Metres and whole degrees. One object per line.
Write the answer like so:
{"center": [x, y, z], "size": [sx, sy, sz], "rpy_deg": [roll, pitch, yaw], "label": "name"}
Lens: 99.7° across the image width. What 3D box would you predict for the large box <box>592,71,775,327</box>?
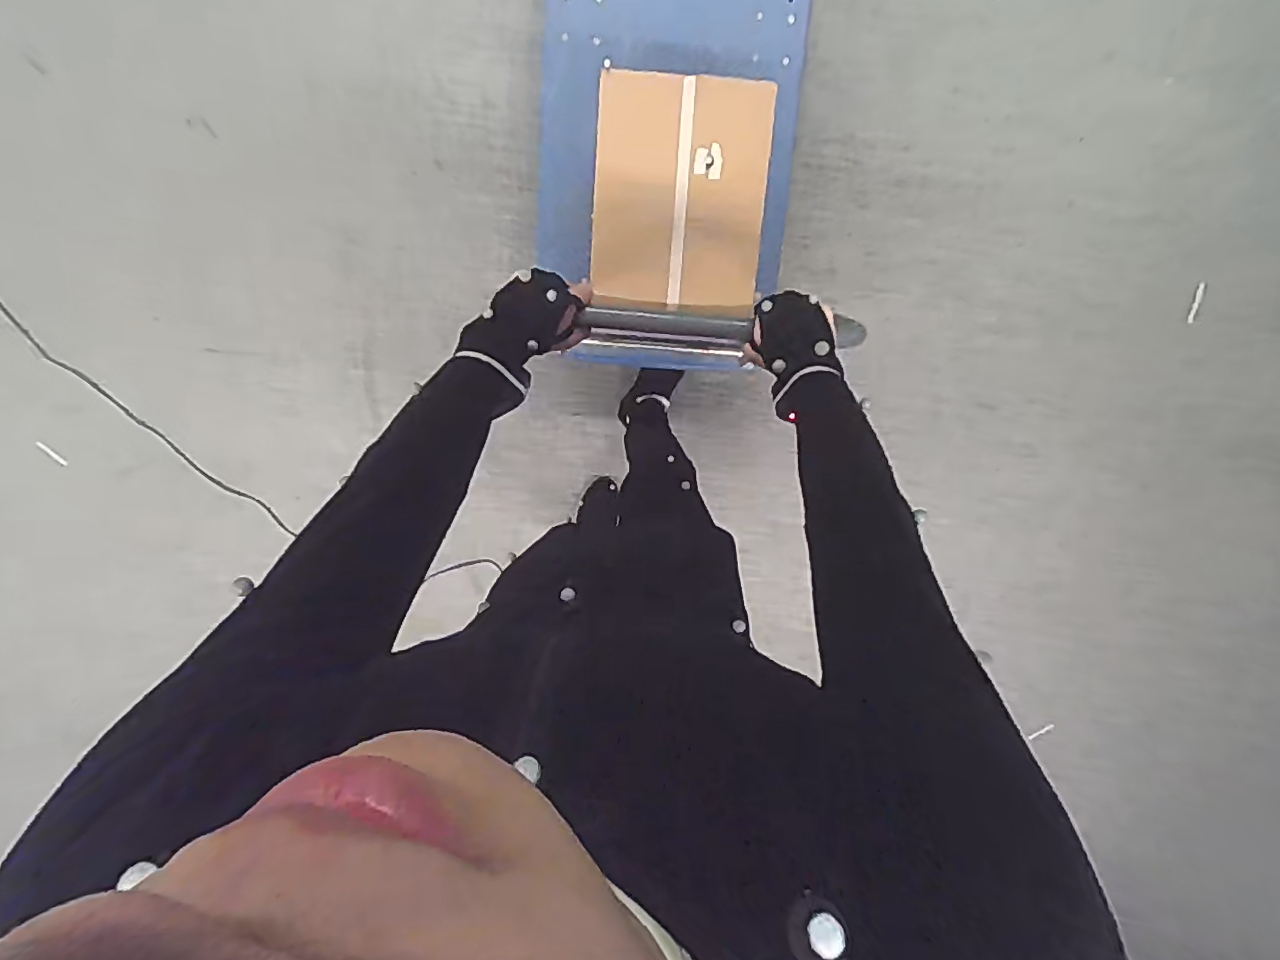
{"center": [0.074, -0.544, 1.134], "size": [0.320, 0.320, 0.408], "rpy_deg": [4, 102, -2], "label": "large box"}
